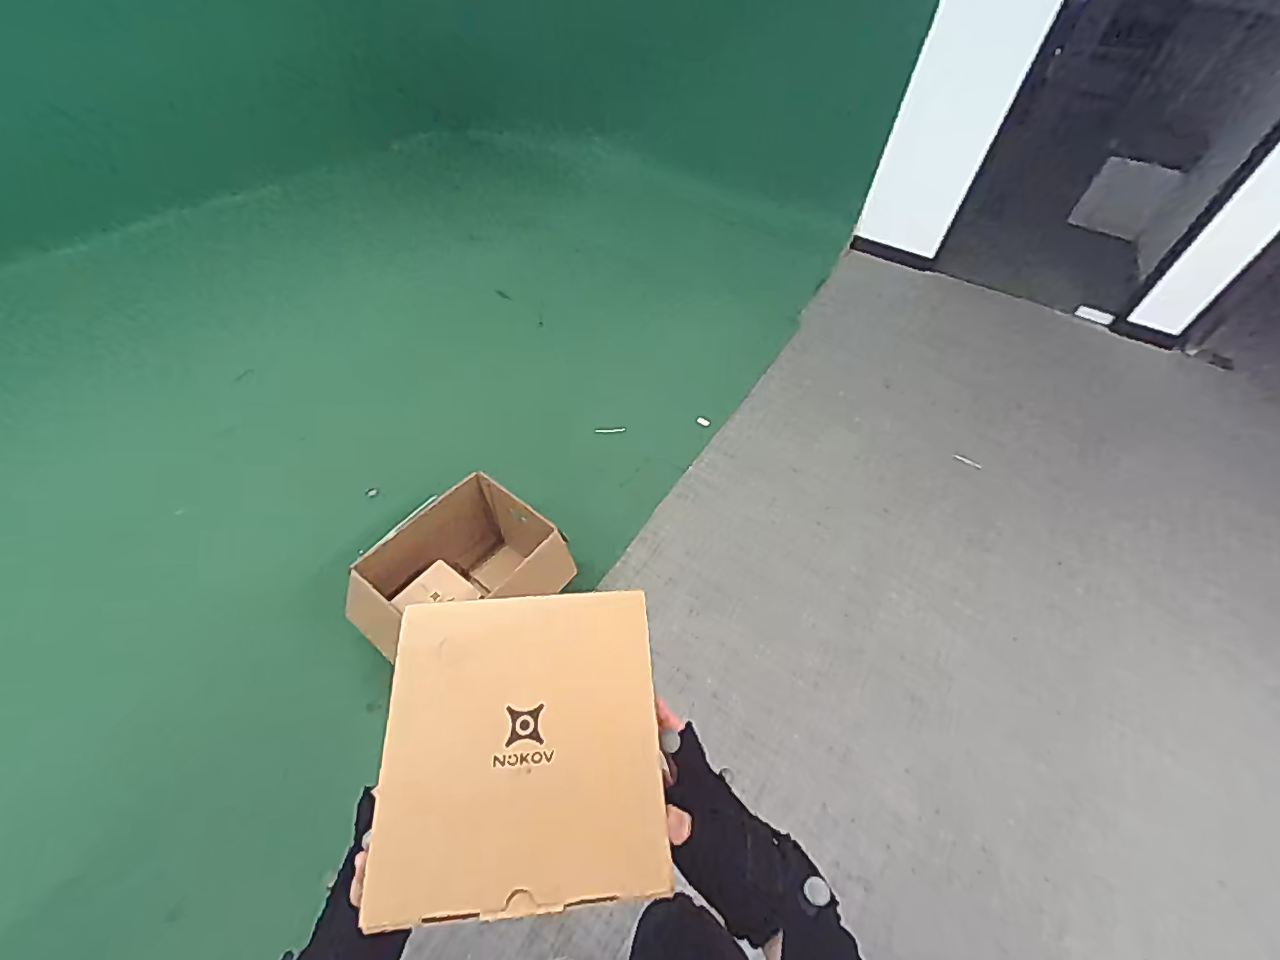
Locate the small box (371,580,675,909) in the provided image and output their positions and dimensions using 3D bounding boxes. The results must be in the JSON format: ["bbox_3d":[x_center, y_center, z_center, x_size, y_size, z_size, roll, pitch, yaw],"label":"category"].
[{"bbox_3d":[-0.074,0.189,0.401,0.168,0.176,0.179,-2,60,-6],"label":"small box"}]
